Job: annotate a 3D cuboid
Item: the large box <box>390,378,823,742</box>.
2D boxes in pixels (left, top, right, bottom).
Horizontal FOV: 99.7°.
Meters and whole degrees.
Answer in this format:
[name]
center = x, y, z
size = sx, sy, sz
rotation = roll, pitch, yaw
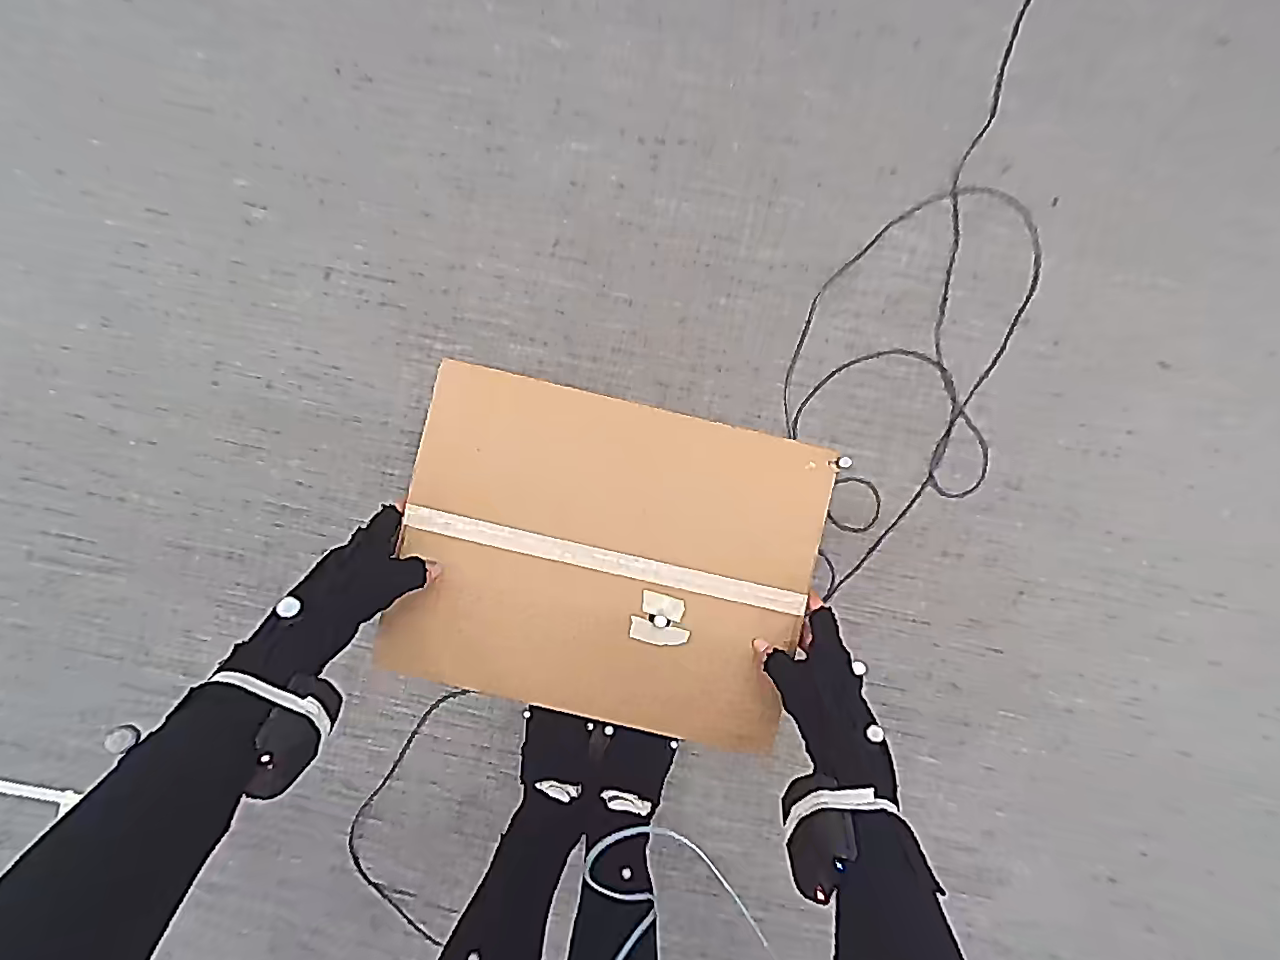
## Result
[large box]
center = -0.037, 0.085, 0.707
size = 0.408, 0.320, 0.320
rotation = 13, 90, -1
